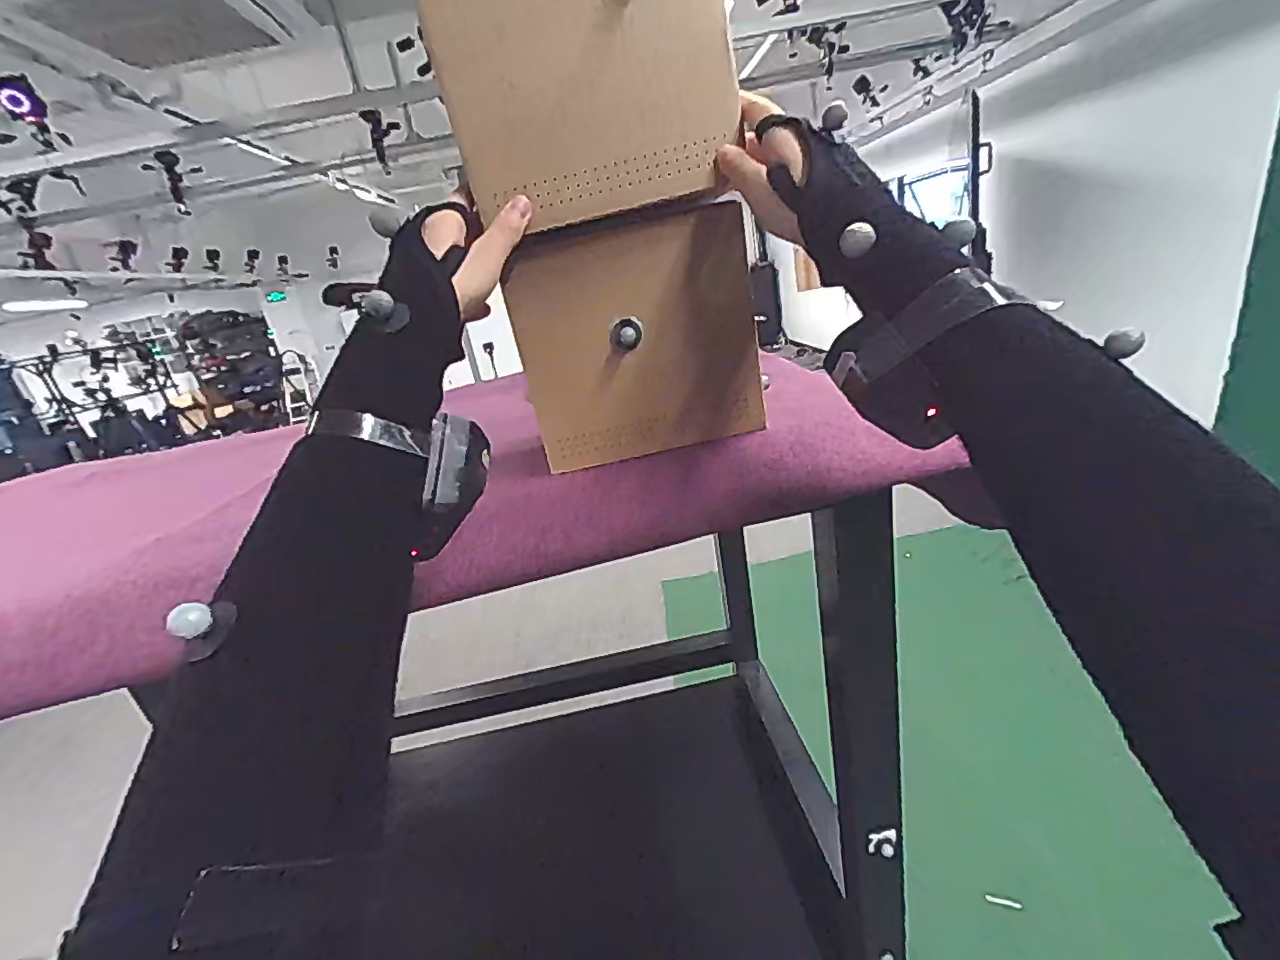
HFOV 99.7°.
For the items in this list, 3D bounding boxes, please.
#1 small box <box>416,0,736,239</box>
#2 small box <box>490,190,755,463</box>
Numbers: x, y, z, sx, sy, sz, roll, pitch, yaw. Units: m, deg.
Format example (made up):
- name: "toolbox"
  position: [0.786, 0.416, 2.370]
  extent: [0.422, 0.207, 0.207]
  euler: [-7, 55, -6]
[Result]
- name: "small box"
  position: [-0.037, -0.277, 0.385]
  extent: [0.179, 0.176, 0.168]
  euler: [-15, 21, 0]
- name: "small box"
  position: [-0.007, -0.130, 0.465]
  extent: [0.179, 0.176, 0.168]
  euler: [-13, 21, 0]
